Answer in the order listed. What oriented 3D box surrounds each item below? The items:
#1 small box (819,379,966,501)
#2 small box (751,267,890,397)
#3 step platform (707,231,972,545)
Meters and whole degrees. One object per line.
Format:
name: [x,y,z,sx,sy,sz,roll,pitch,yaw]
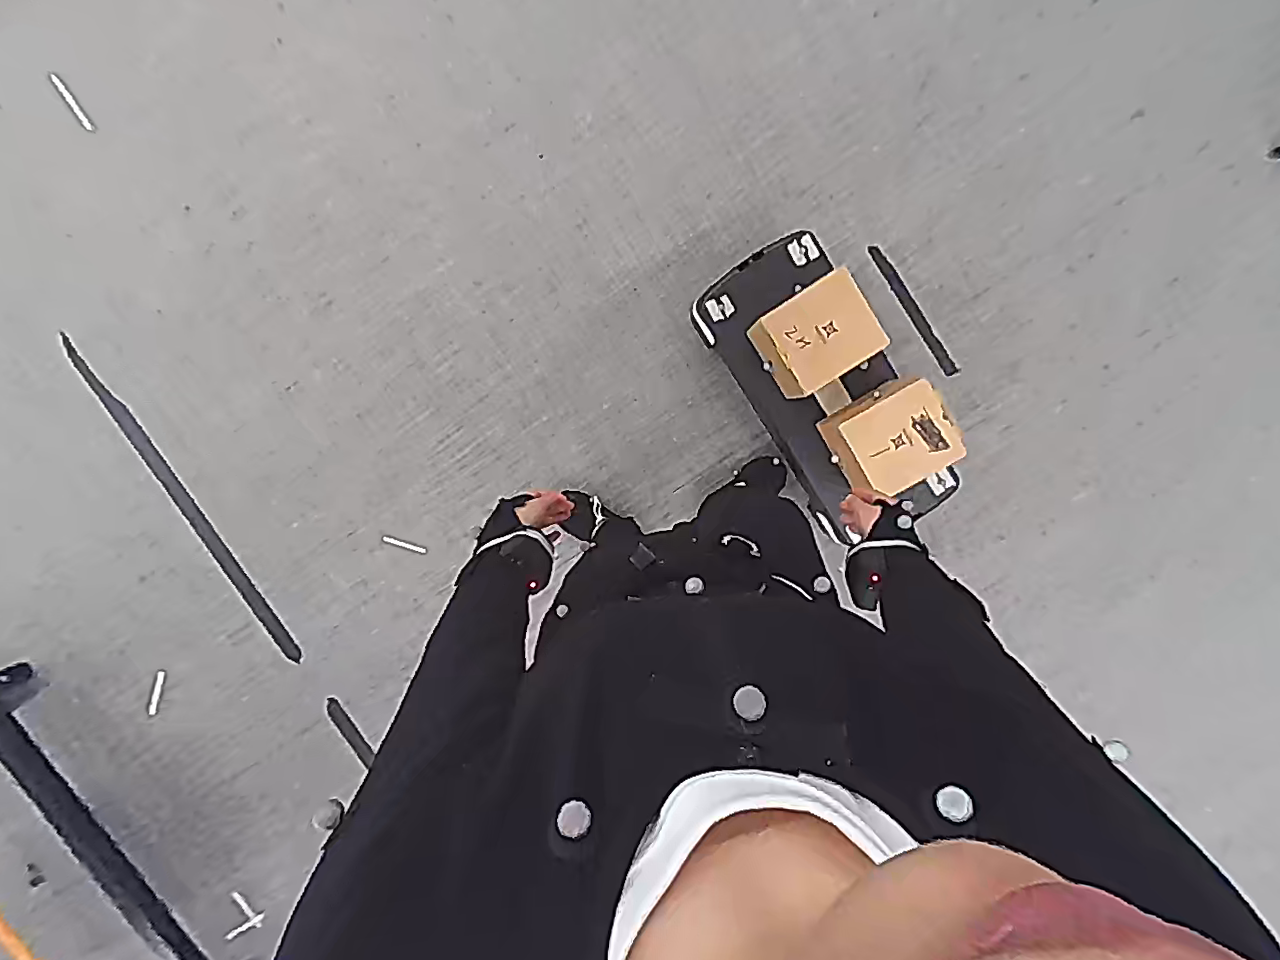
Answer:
small box: [0.481,-0.082,1.057,0.179,0.176,0.168,-30,94,8]
small box: [0.335,-0.274,1.041,0.179,0.176,0.168,-32,93,7]
step platform: [0.435,-0.192,1.221,0.286,0.204,0.684,-33,93,6]
